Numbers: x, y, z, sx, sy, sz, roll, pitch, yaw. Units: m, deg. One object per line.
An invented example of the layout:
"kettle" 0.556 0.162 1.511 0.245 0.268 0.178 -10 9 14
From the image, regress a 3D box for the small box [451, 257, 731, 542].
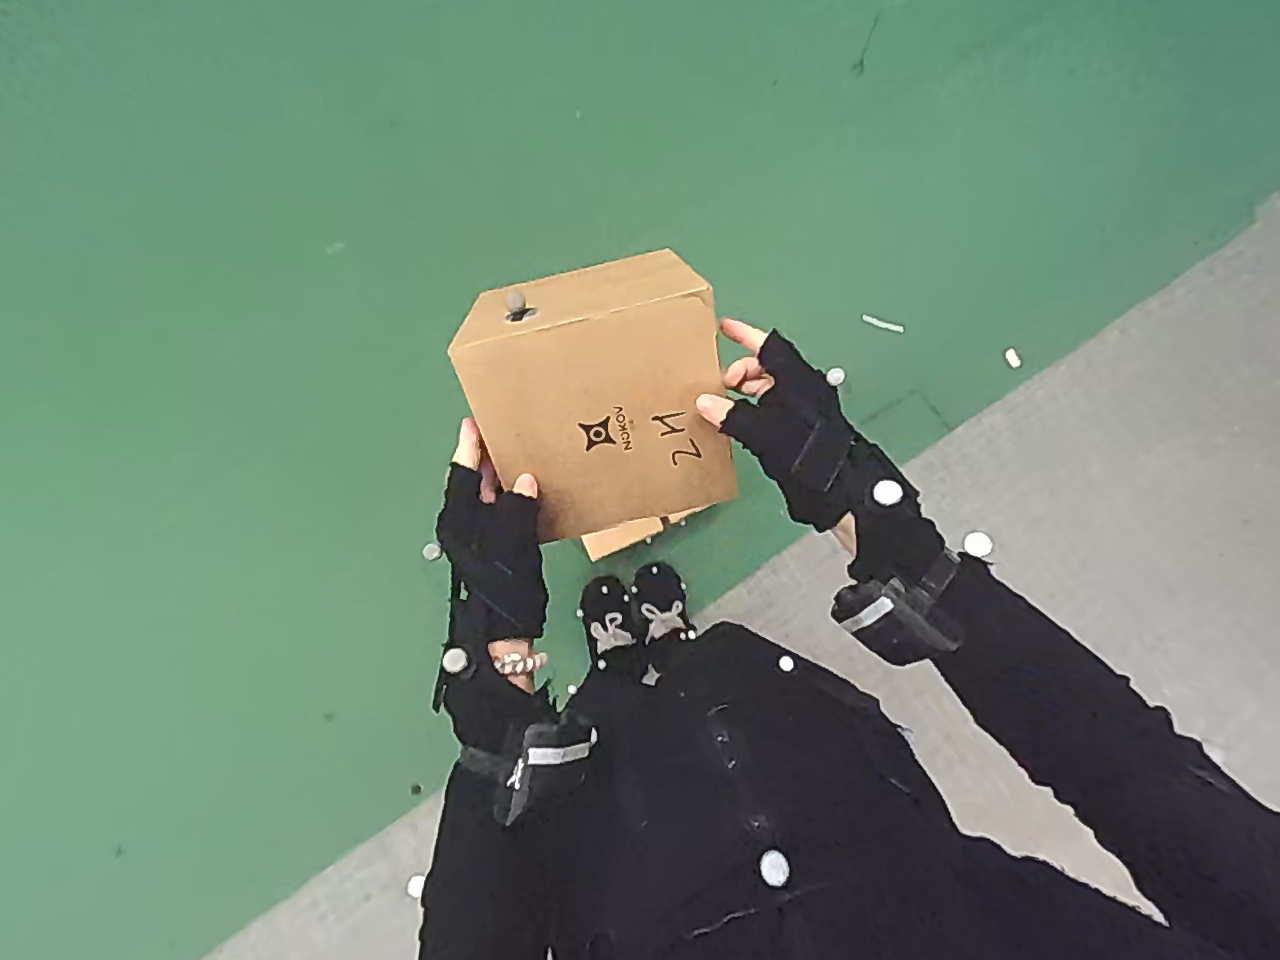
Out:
"small box" -0.034 -0.077 0.460 0.179 0.176 0.168 -13 122 0
